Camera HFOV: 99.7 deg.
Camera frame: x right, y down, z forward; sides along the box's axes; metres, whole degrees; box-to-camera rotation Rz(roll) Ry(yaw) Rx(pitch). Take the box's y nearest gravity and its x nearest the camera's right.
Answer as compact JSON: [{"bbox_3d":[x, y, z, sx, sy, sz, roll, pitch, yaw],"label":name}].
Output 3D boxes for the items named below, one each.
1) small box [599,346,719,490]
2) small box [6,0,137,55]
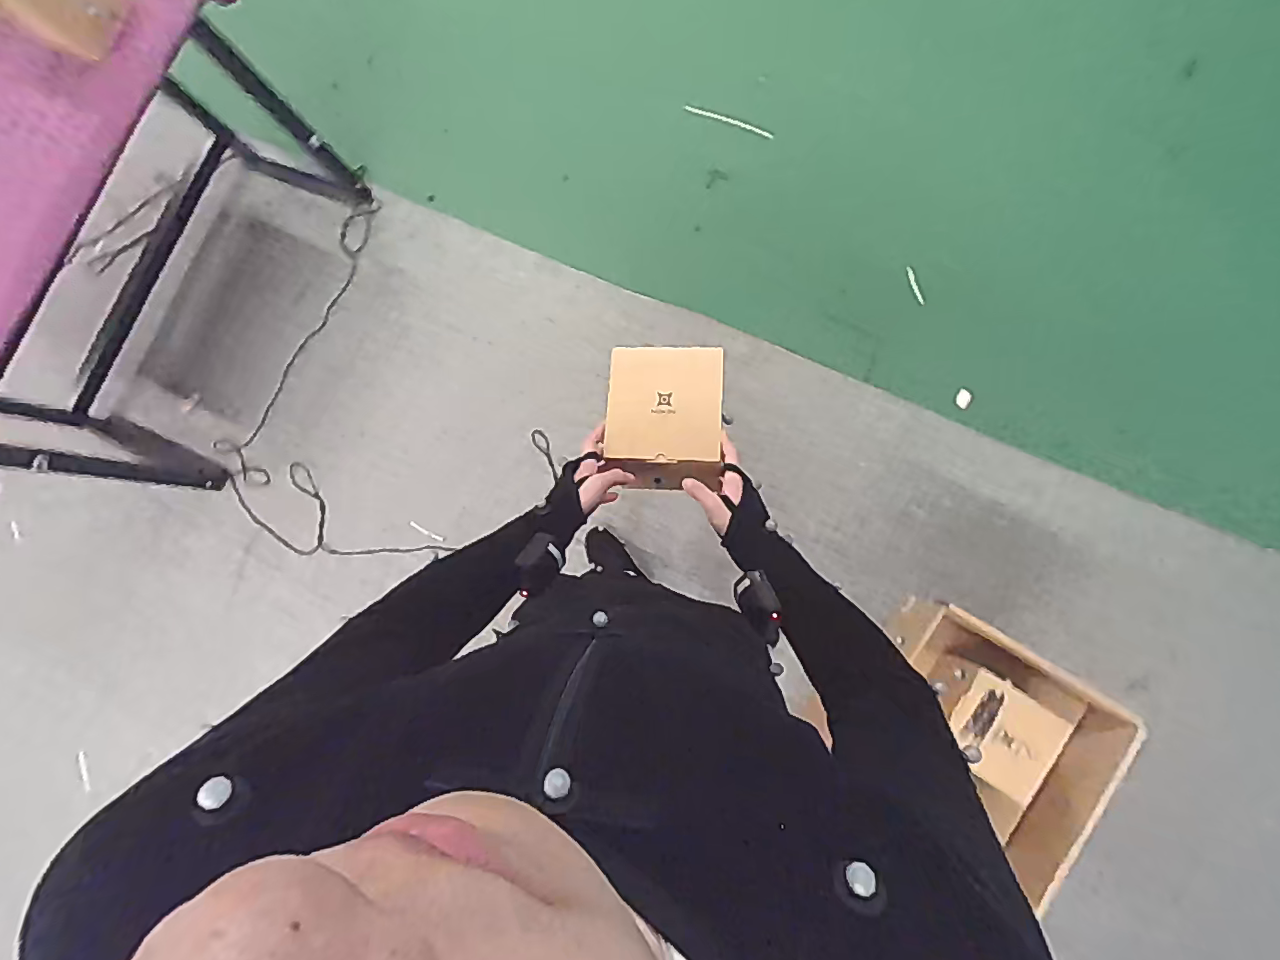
[{"bbox_3d":[0.035,-0.090,0.842,0.168,0.176,0.179,1,77,6],"label":"small box"},{"bbox_3d":[-1.235,-1.048,1.134,0.179,0.176,0.168,27,88,10],"label":"small box"}]
